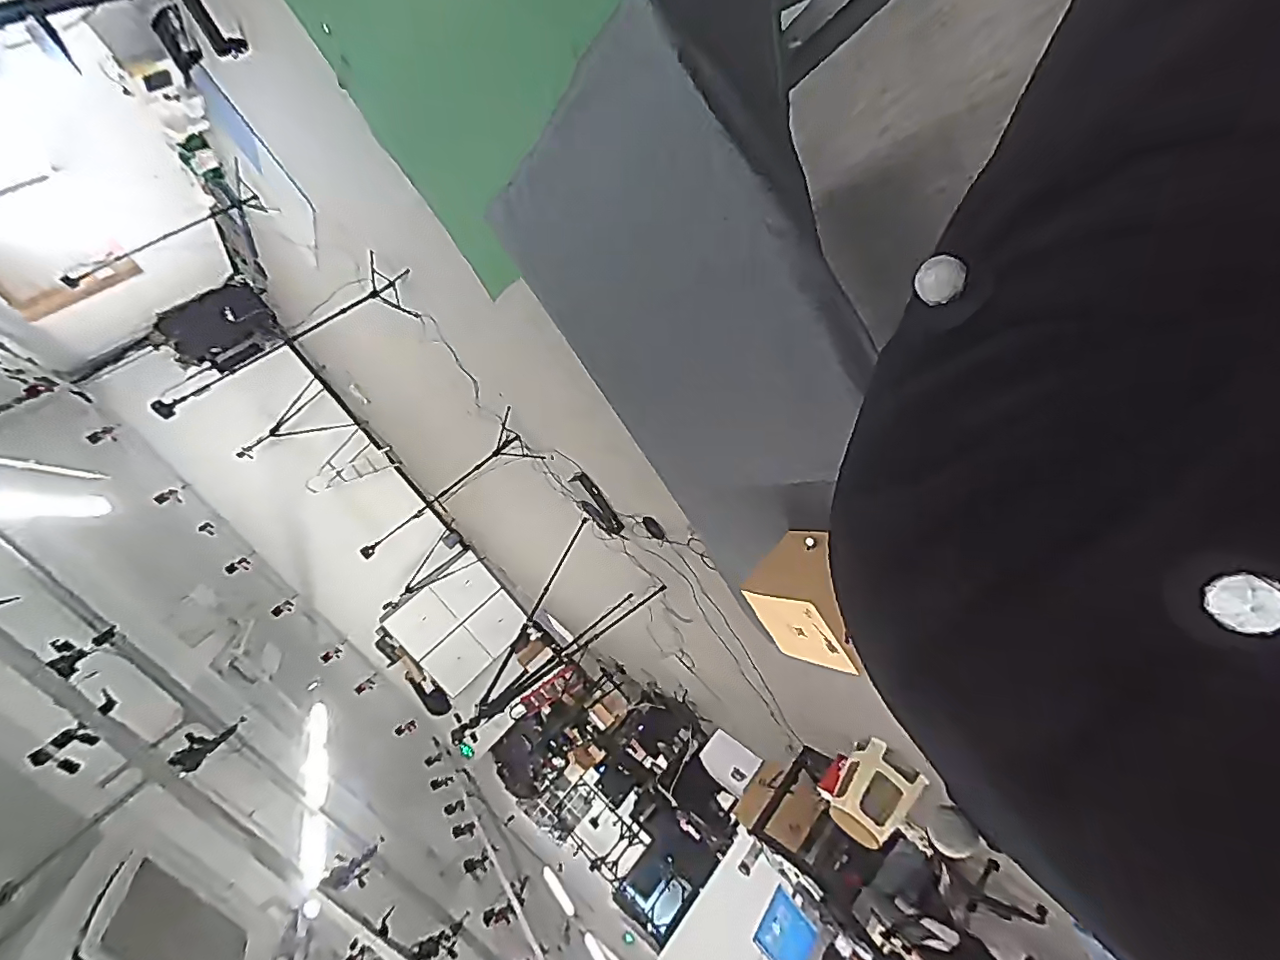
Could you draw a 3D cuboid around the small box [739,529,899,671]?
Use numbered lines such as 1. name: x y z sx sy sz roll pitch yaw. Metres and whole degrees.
1. small box: 0.318 0.202 0.964 0.168 0.176 0.179 55 154 -16
